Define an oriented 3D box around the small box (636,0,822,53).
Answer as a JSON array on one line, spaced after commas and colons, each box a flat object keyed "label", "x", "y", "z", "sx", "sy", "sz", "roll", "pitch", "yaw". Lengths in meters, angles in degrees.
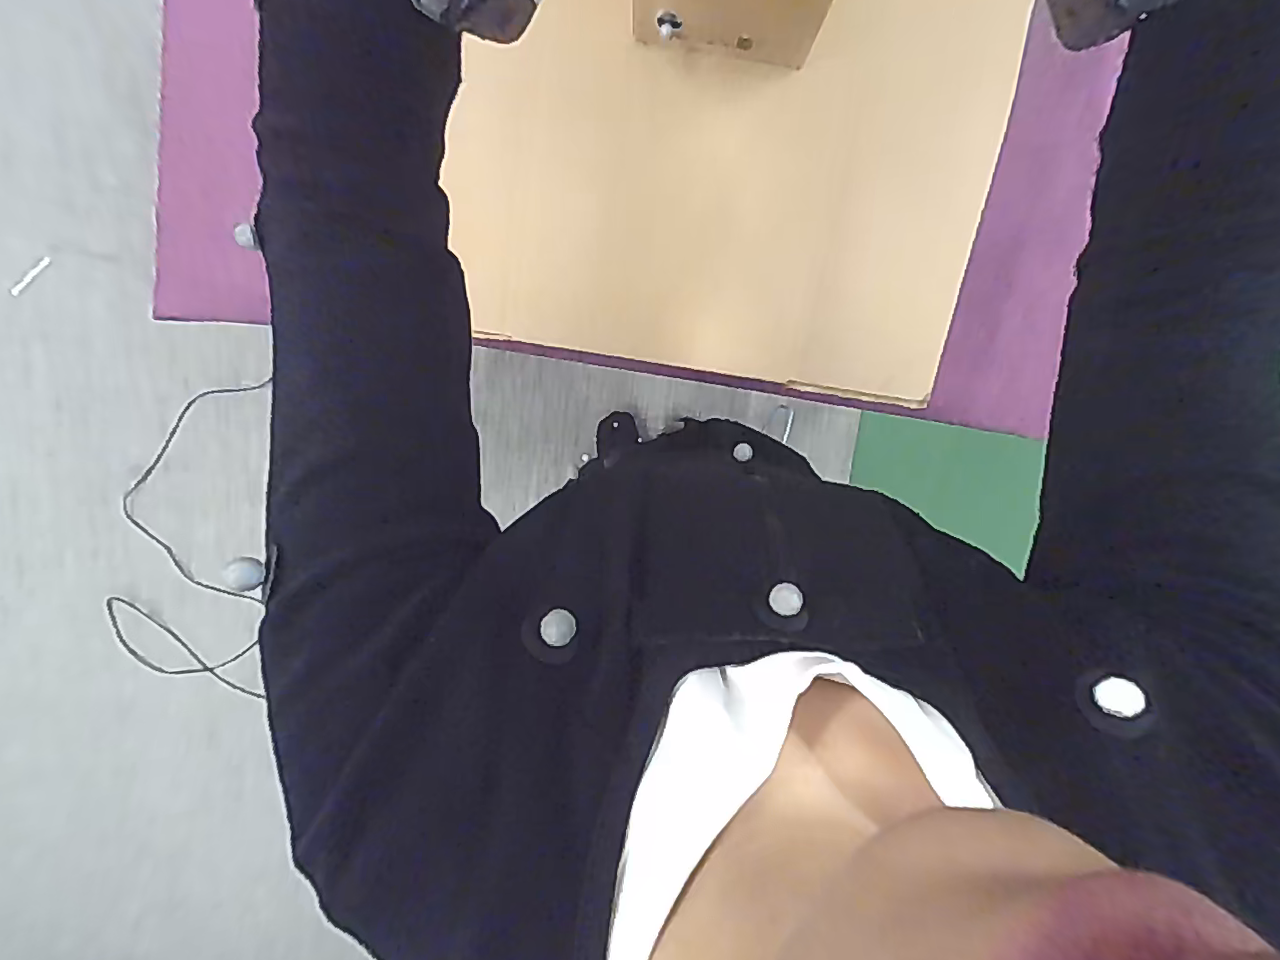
[{"label": "small box", "x": 0.085, "y": -0.486, "z": 0.423, "sx": 0.168, "sy": 0.176, "sz": 0.179, "roll": 9, "pitch": 95, "yaw": -1}]
